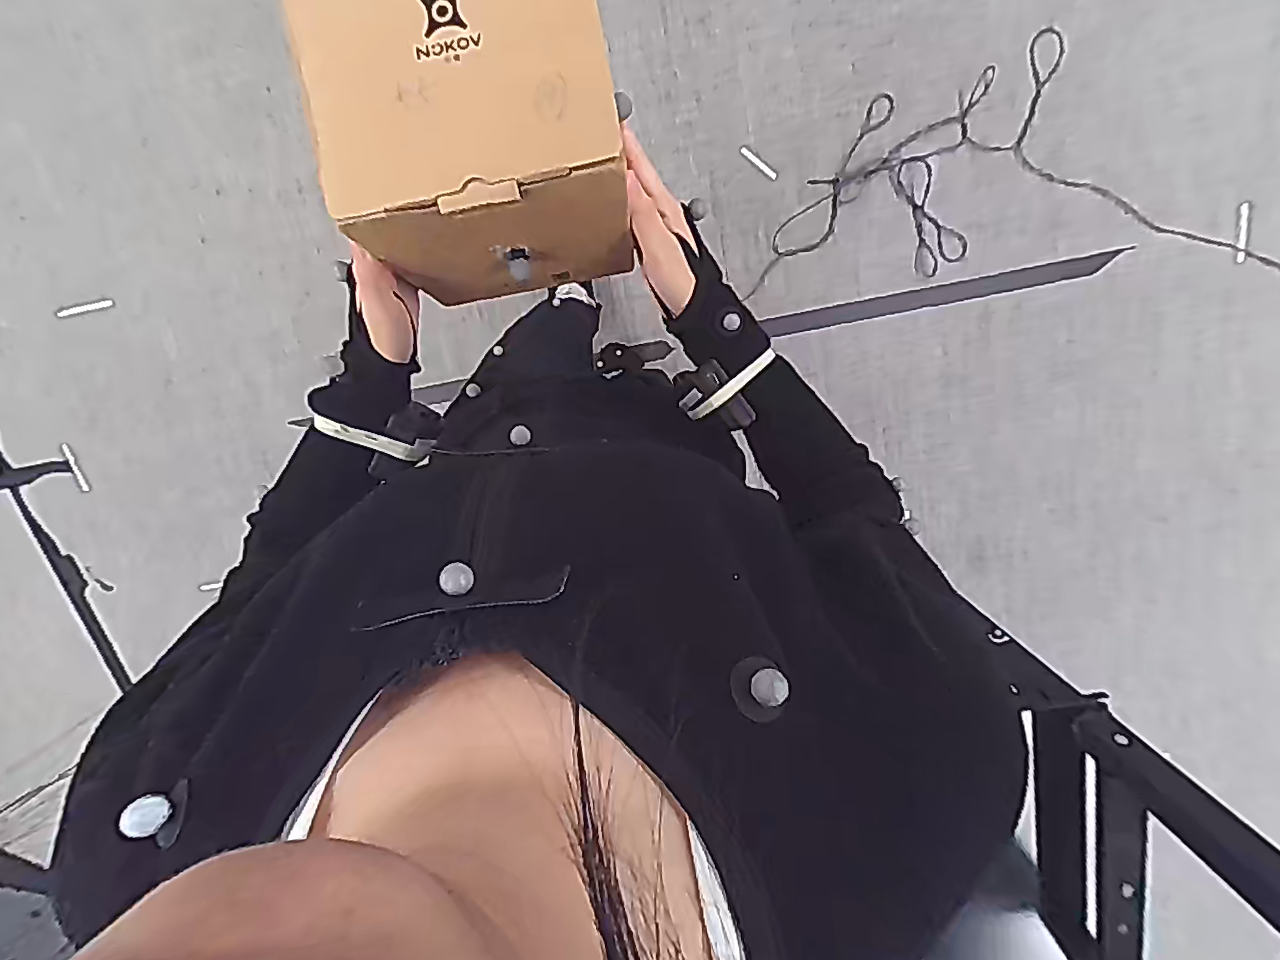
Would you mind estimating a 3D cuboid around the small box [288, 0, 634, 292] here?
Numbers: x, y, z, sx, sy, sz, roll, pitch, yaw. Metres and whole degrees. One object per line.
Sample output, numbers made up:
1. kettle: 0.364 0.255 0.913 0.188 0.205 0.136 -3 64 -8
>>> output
1. small box: -0.099 -0.240 0.366 0.168 0.176 0.179 -11 93 1
